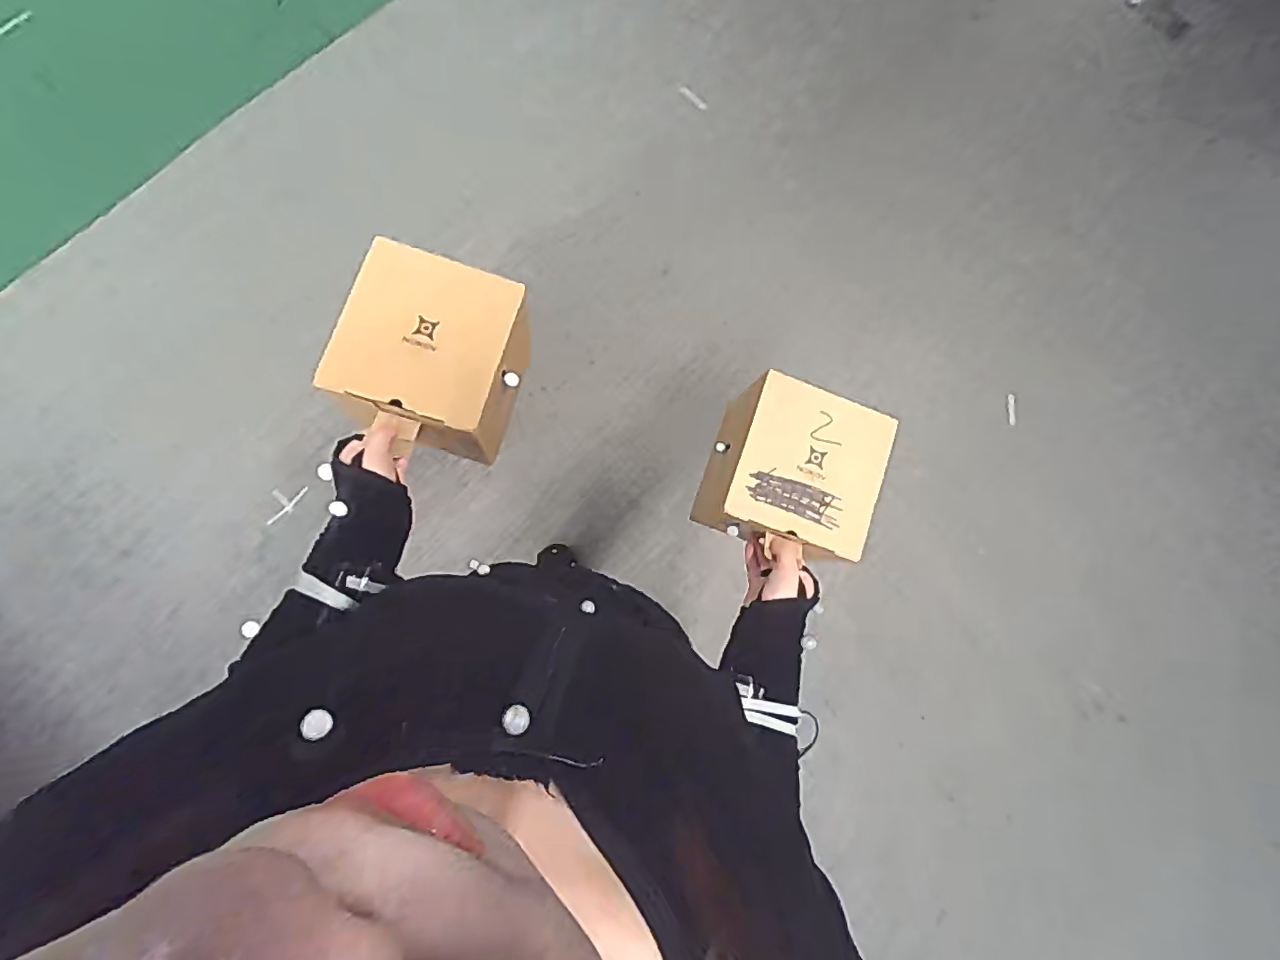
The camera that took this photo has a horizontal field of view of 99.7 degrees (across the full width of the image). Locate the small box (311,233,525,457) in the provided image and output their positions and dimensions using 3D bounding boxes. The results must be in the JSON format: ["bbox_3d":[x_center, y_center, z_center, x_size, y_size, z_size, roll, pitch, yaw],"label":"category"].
[{"bbox_3d":[-0.239,-0.143,0.635,0.168,0.176,0.179,17,79,-6],"label":"small box"}]
